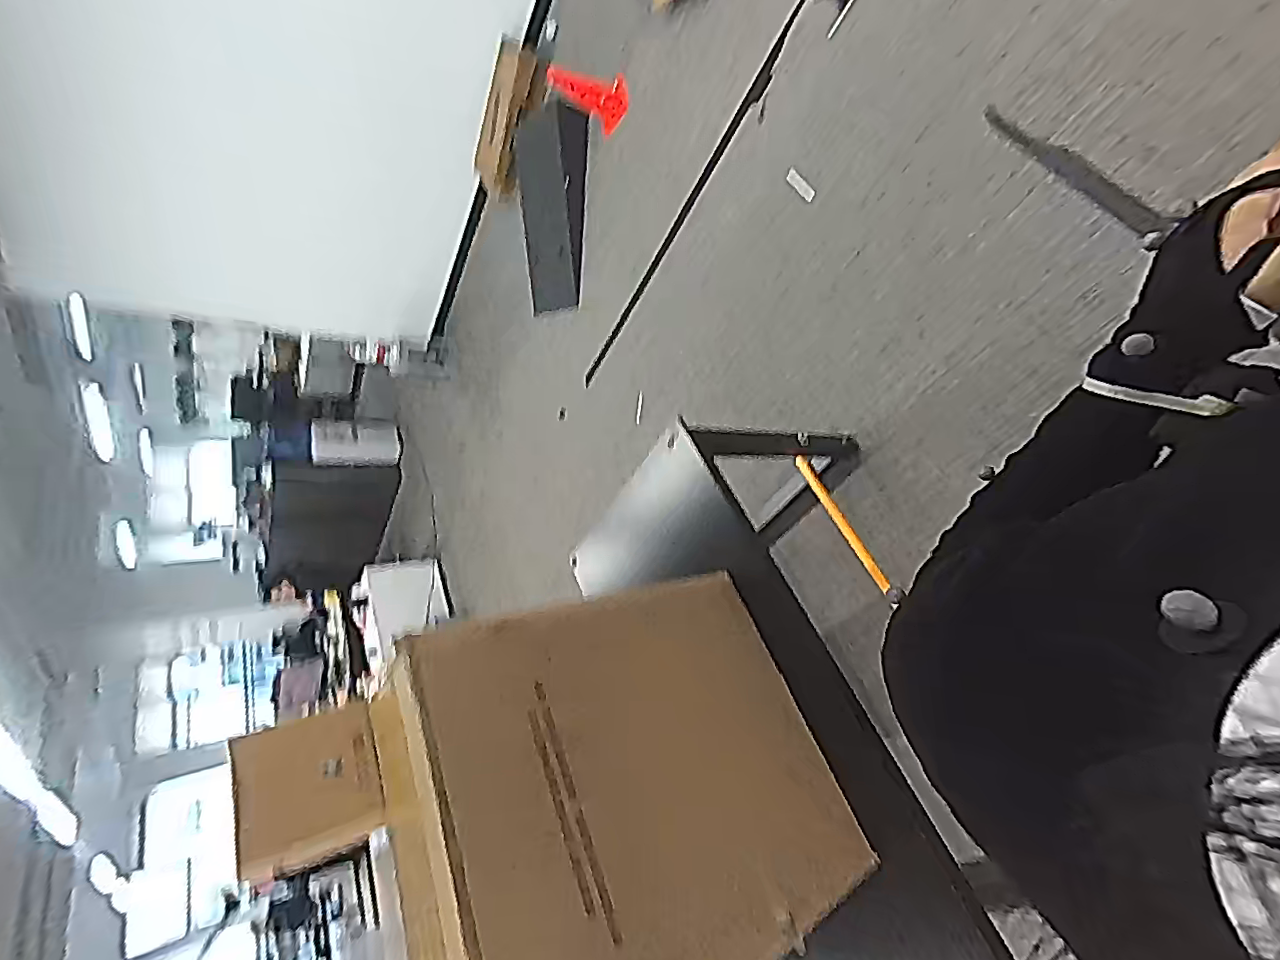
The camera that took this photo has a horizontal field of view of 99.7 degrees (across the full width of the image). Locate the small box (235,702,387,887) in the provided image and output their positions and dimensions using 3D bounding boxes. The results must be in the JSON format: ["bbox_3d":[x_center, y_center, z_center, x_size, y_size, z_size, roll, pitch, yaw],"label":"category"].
[{"bbox_3d":[-0.478,0.452,0.788,0.179,0.176,0.168,-55,53,40],"label":"small box"}]
